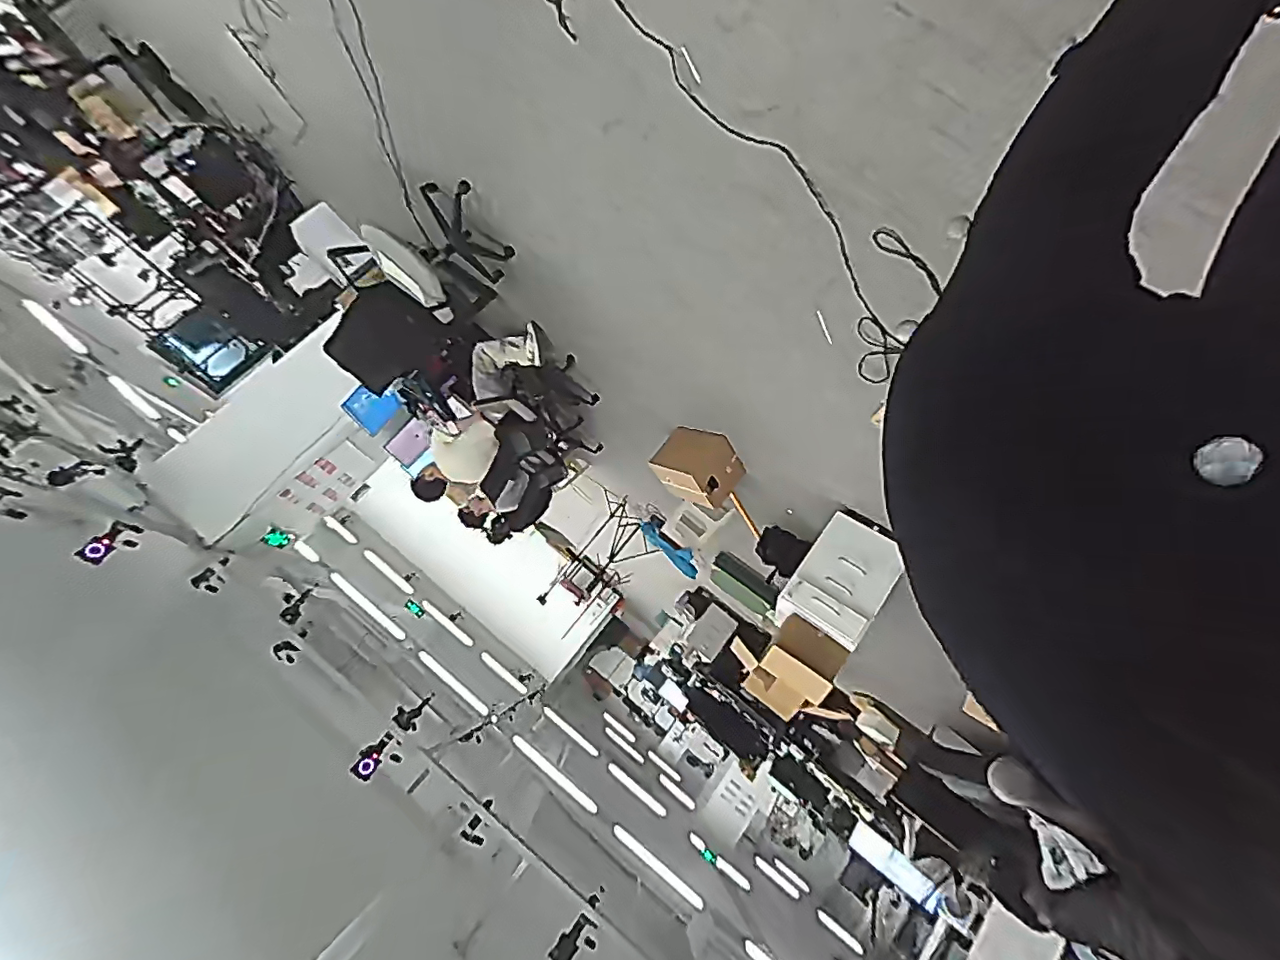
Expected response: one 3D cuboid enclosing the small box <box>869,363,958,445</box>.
[{"bbox_3d":[0.902,-0.251,1.783,0.179,0.176,0.168,36,163,9],"label":"small box"}]
